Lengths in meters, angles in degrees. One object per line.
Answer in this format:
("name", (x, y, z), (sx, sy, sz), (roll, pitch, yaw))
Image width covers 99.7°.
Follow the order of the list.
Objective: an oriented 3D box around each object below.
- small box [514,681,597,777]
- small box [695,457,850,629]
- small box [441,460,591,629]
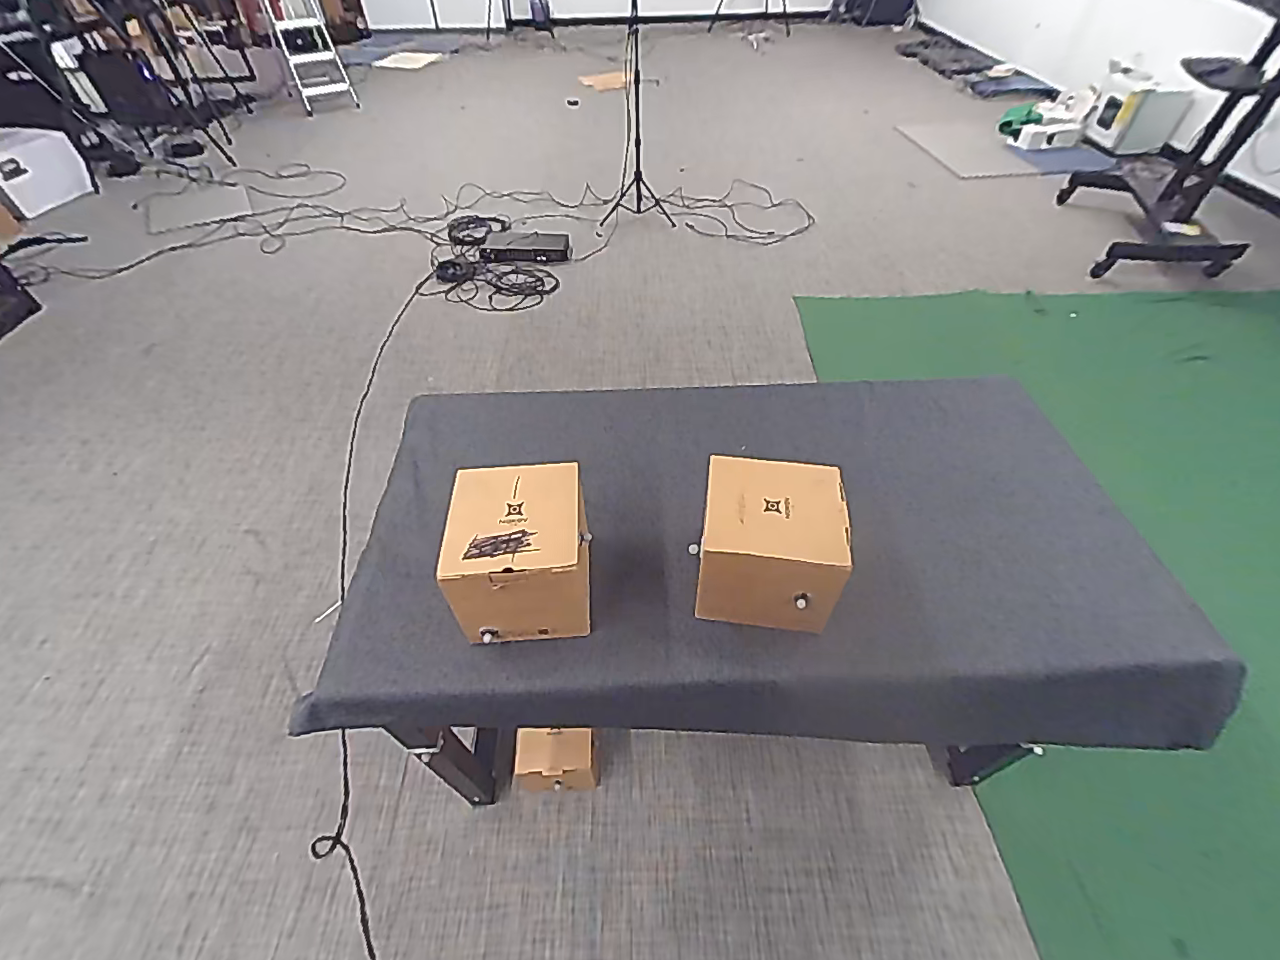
("small box", (-0.191, 0.594, 1.282), (0.168, 0.176, 0.179), (-1, 49, -1))
("small box", (0.175, 0.091, 0.752), (0.179, 0.176, 0.168), (6, 48, 7))
("small box", (-0.155, 0.094, 0.747), (0.168, 0.176, 0.179), (-2, 47, -2))
